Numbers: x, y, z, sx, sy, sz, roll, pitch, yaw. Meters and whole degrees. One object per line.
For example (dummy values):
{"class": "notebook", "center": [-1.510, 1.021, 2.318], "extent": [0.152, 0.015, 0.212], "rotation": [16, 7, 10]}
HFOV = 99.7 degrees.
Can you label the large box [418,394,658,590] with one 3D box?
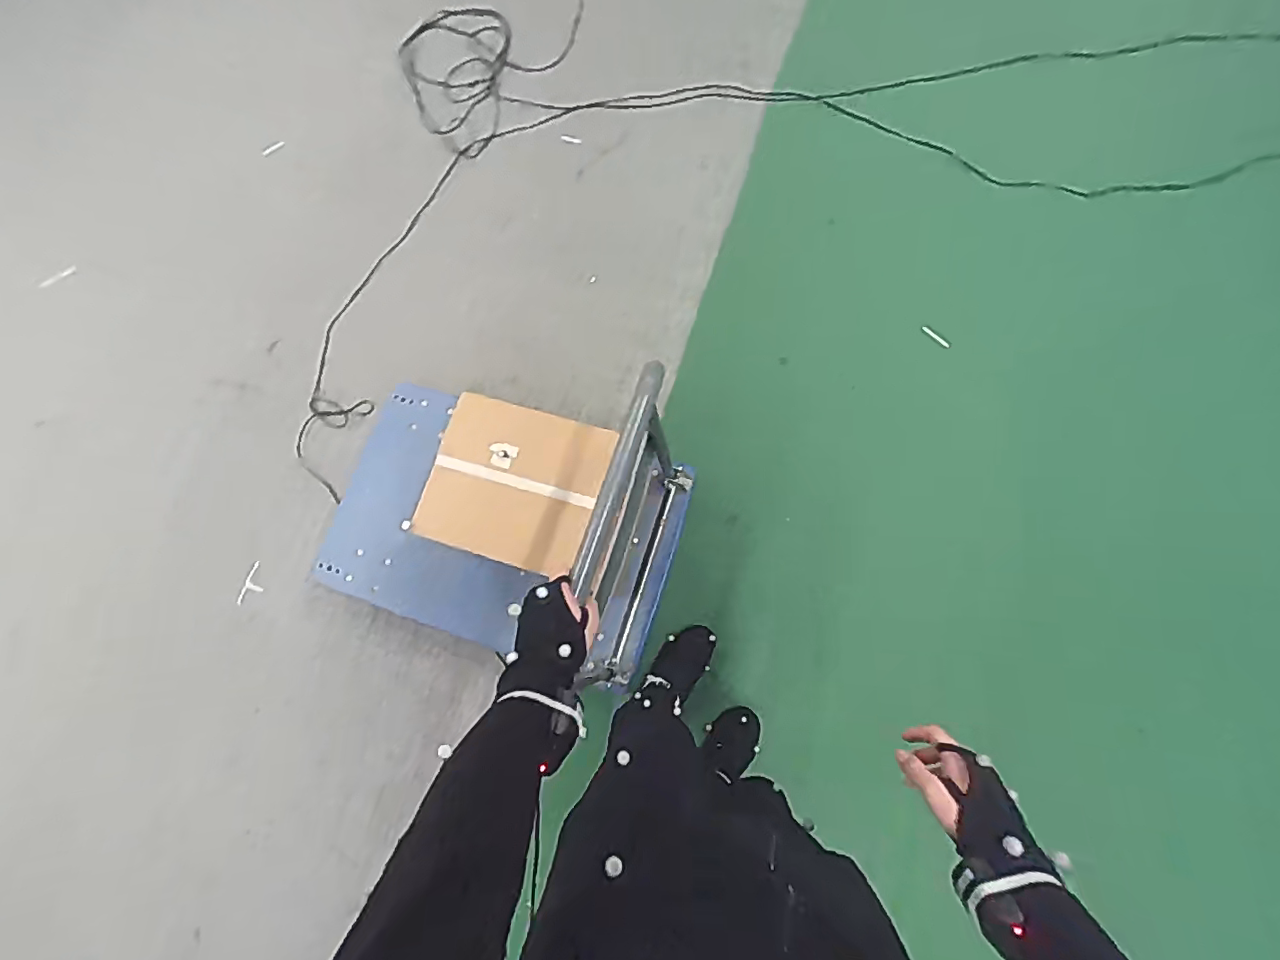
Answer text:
{"class": "large box", "center": [-0.196, 0.045, 1.218], "extent": [0.408, 0.320, 0.320], "rotation": [16, 78, 9]}
